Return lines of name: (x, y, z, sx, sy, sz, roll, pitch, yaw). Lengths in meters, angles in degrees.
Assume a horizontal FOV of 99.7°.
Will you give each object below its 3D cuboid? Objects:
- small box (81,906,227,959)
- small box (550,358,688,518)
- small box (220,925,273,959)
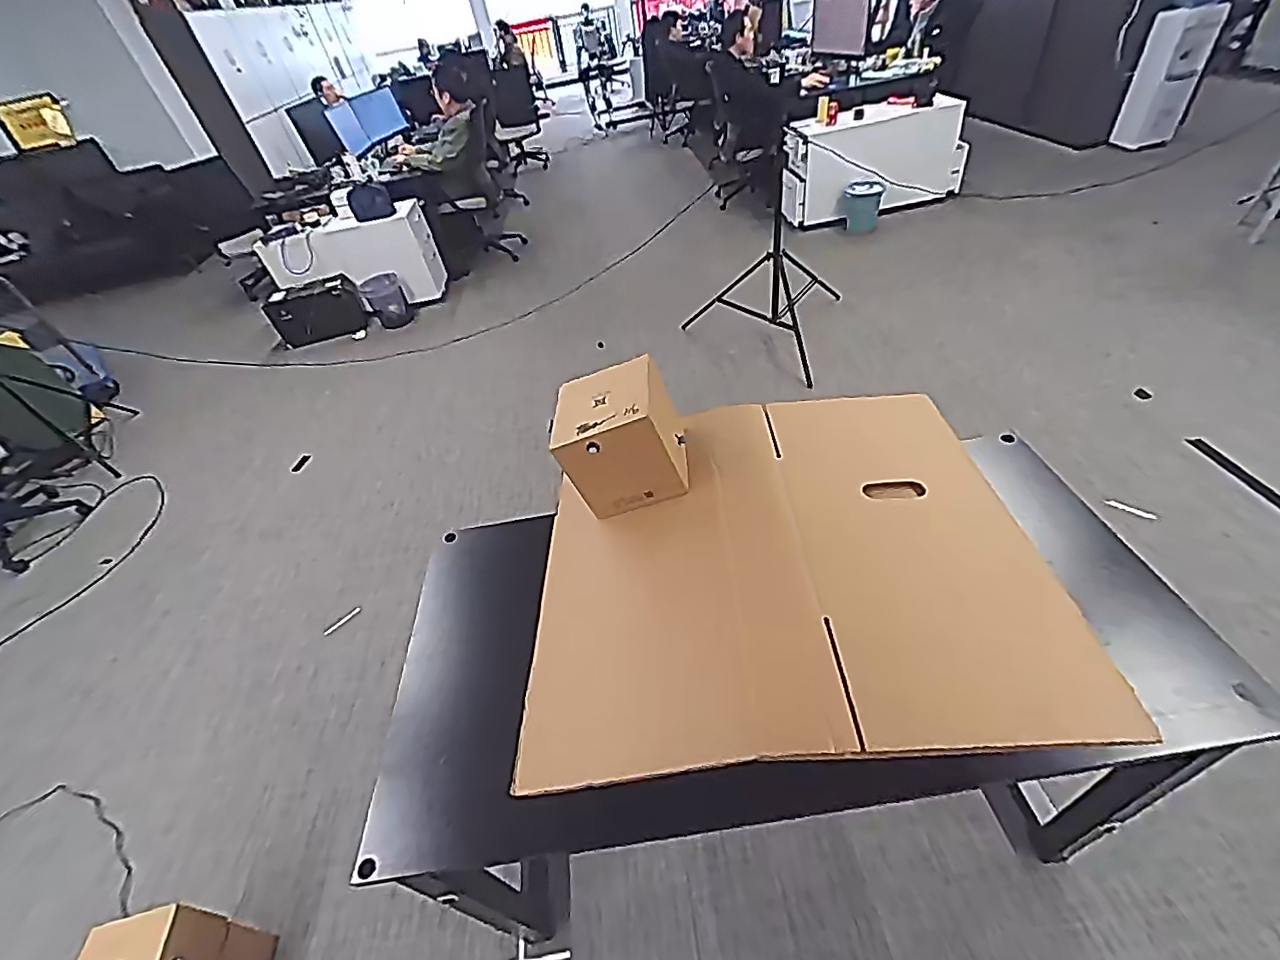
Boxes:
small box: (-0.959, 0.973, 1.053, 0.168, 0.176, 0.179, -14, 41, -4)
small box: (-0.027, -0.067, 0.895, 0.168, 0.176, 0.179, -18, 39, 16)
small box: (-0.932, 1.095, 1.158, 0.168, 0.176, 0.179, -13, 43, -1)
